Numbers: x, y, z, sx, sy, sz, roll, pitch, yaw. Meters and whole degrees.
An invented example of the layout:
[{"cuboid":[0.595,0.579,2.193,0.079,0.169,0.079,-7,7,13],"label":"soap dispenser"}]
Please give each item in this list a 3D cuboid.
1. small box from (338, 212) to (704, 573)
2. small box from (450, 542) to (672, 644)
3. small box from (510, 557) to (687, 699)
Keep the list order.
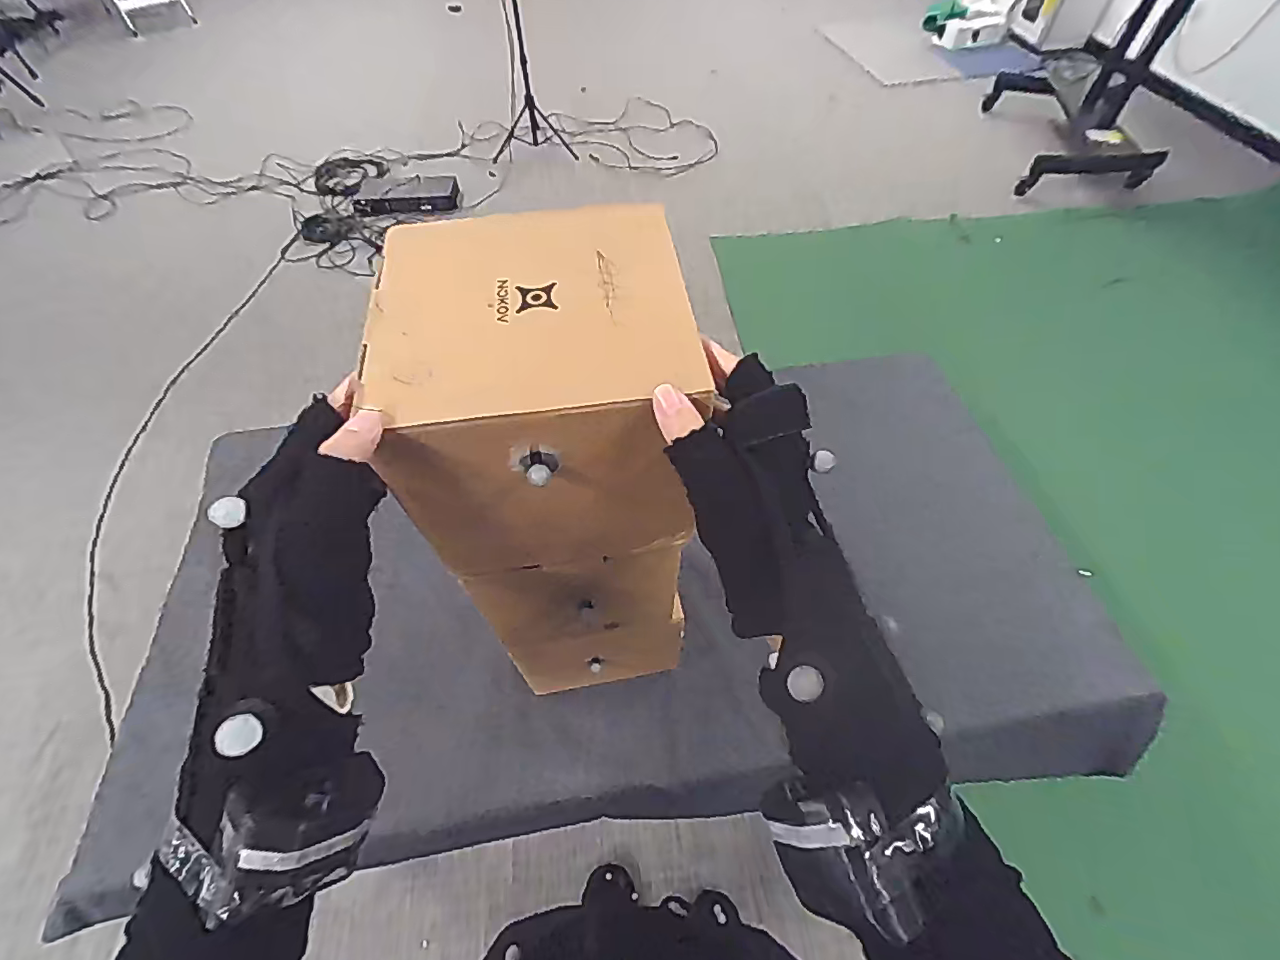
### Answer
[{"cuboid":[-0.064,-0.050,0.362,0.179,0.176,0.168,-7,57,-5],"label":"small box"},{"cuboid":[-0.068,0.039,0.499,0.168,0.176,0.179,-9,56,-6],"label":"small box"},{"cuboid":[-0.057,0.137,0.630,0.179,0.176,0.168,-11,56,-9],"label":"small box"}]
